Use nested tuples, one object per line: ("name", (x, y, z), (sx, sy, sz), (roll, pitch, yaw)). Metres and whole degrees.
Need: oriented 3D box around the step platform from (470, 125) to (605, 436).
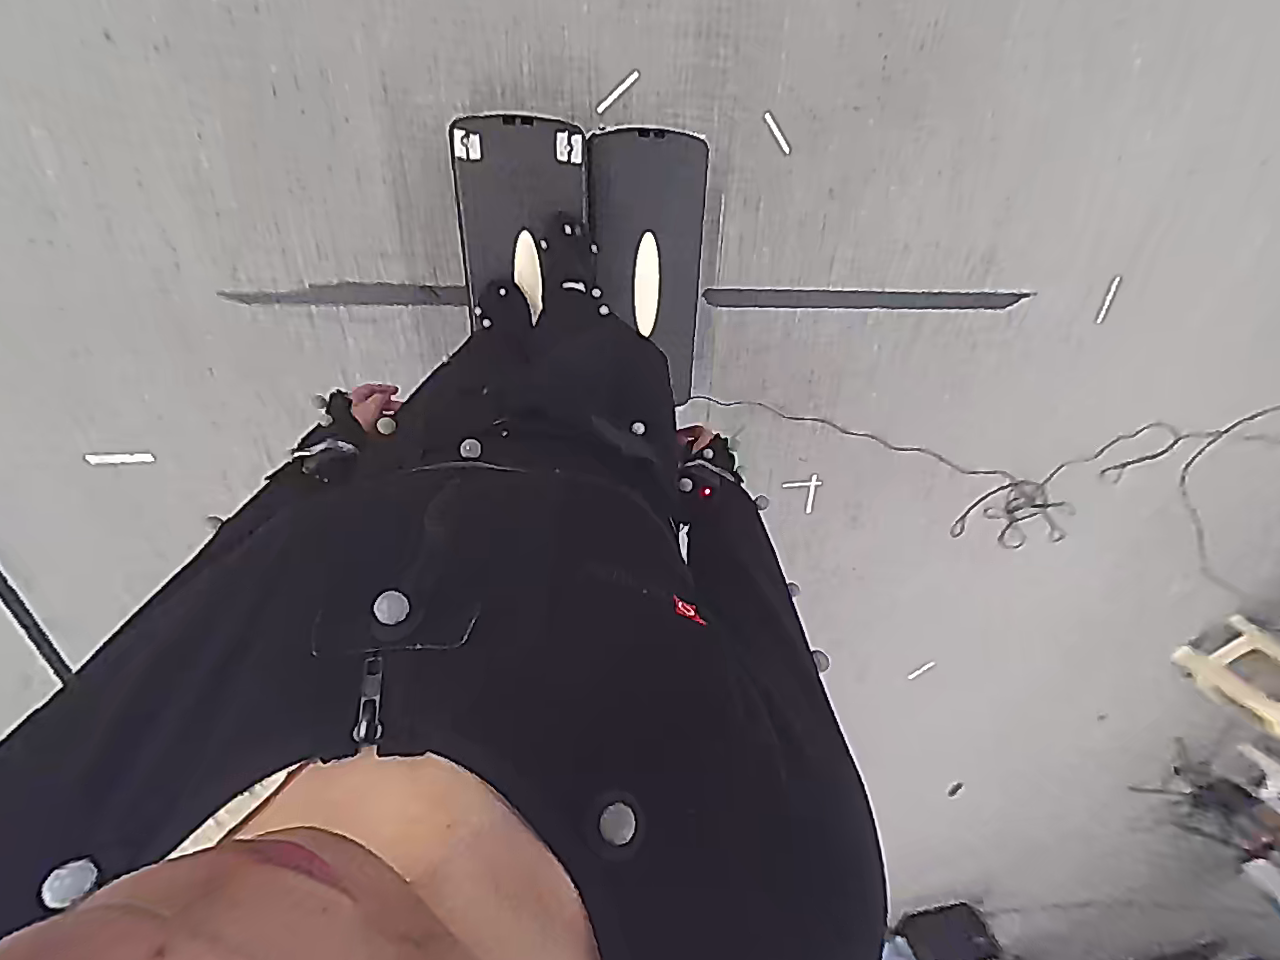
("step platform", (-0.248, -0.446, 1.300), (0.286, 0.204, 0.684), (1, 115, -11))
